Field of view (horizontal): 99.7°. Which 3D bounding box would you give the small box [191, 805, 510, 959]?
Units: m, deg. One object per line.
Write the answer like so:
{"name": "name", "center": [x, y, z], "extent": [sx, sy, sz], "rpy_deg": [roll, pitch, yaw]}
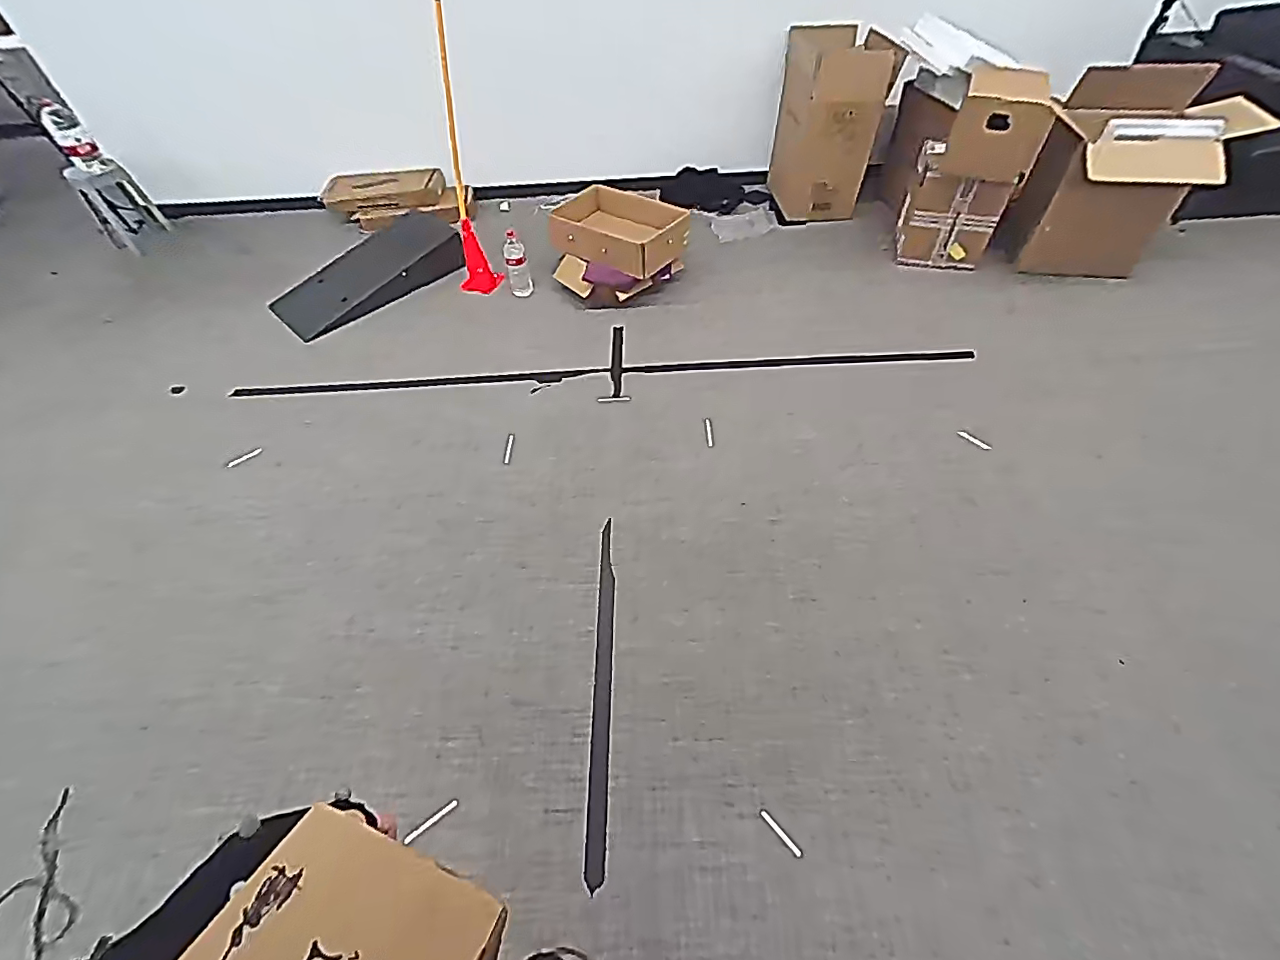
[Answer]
{"name": "small box", "center": [-0.220, 0.393, 0.399], "extent": [0.179, 0.176, 0.168], "rpy_deg": [21, 31, 9]}
